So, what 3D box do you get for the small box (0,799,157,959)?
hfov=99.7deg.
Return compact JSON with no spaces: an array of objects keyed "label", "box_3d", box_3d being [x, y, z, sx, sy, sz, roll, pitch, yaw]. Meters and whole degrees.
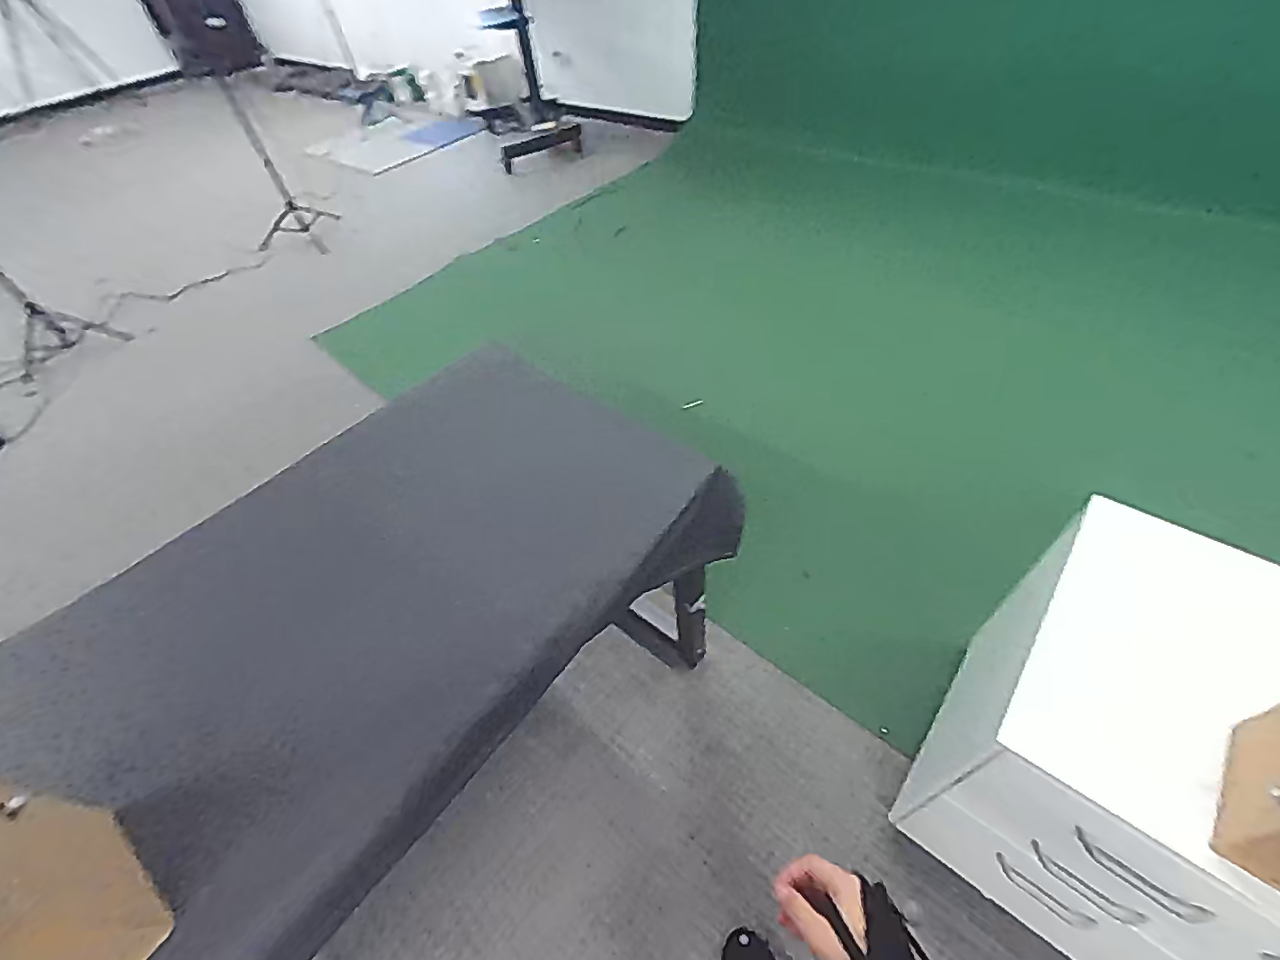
[{"label":"small box","box_3d":[-0.576,0.398,0.457,0.179,0.176,0.168,25,56,26]}]
